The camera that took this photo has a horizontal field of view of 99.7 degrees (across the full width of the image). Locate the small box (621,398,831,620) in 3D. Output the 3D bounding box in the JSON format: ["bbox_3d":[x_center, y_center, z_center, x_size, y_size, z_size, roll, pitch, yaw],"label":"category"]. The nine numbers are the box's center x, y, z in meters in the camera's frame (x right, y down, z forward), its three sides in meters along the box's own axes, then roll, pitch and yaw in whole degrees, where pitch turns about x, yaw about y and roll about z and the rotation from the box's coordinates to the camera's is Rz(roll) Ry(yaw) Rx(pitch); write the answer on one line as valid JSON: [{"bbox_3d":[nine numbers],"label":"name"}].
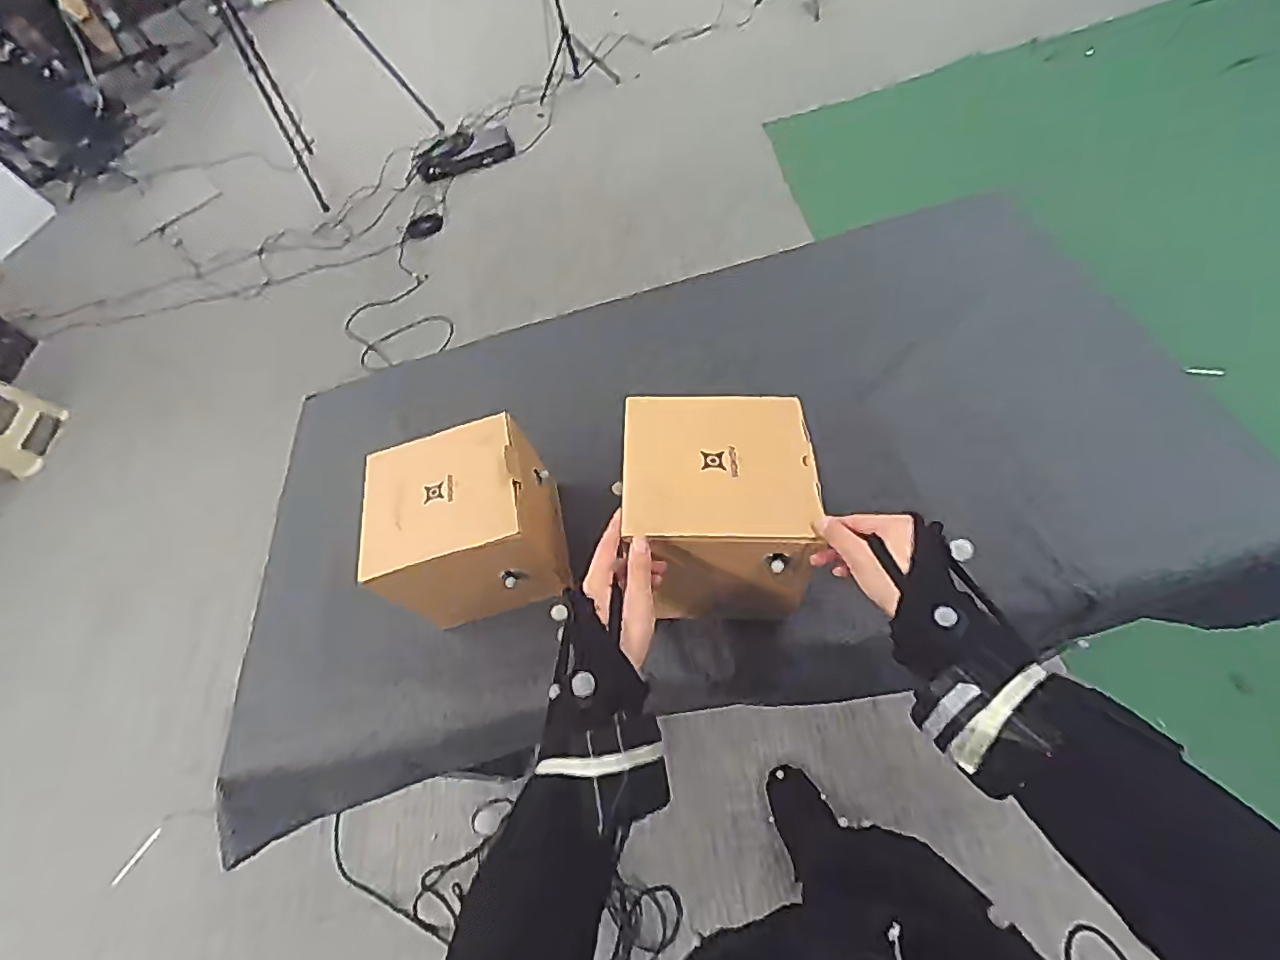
[{"bbox_3d":[0.075,0.034,0.555,0.179,0.176,0.168,1,53,1],"label":"small box"}]

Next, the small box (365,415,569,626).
[{"bbox_3d":[-0.194,0.055,0.648,0.179,0.176,0.168,-18,55,4],"label":"small box"}]
